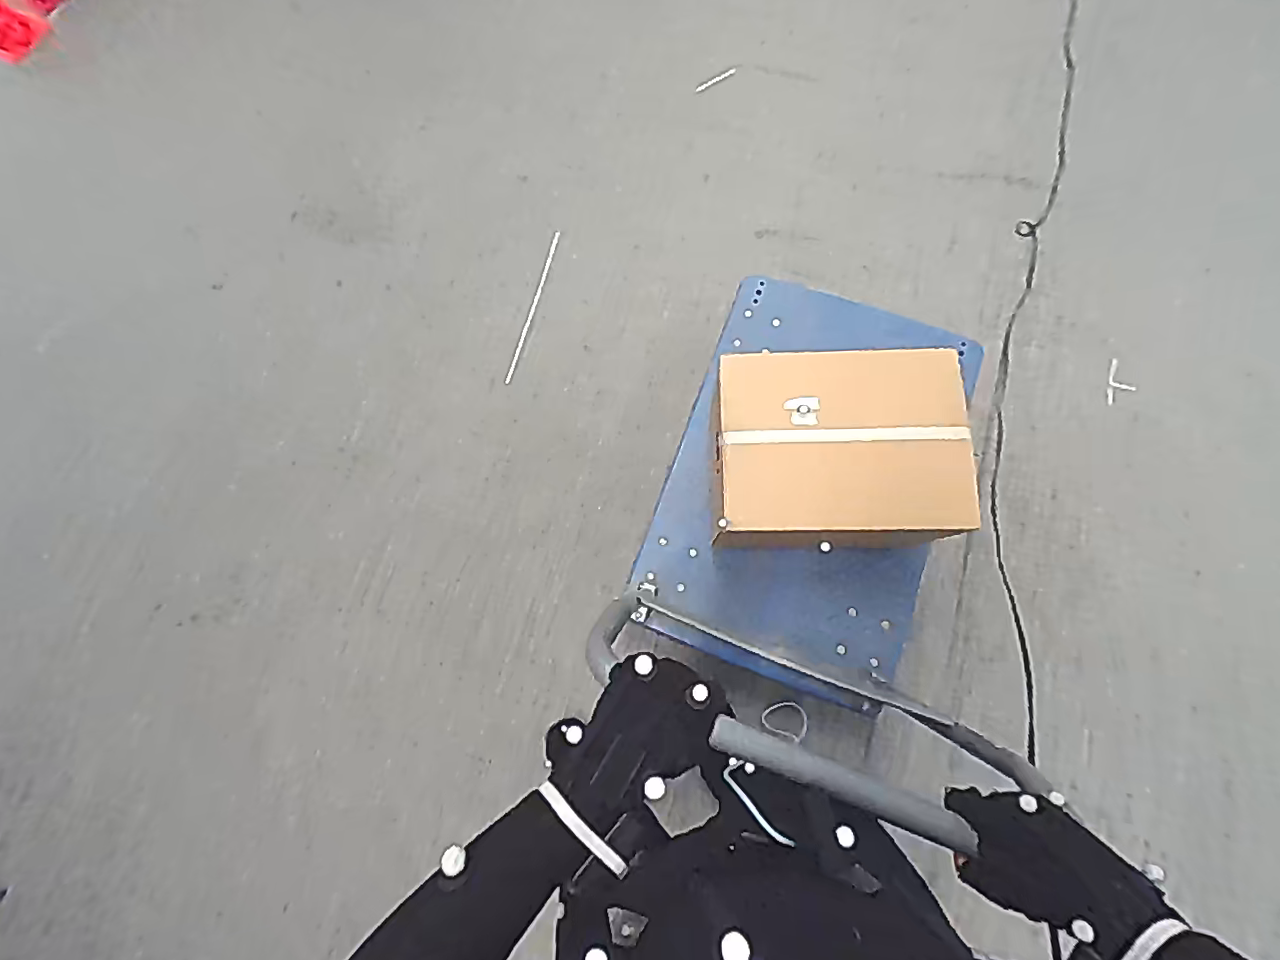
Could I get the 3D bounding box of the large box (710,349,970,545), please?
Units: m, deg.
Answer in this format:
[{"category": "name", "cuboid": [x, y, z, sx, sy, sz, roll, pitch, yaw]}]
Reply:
[{"category": "large box", "cuboid": [0.348, -0.040, 1.061, 0.408, 0.320, 0.320, -1, 77, 5]}]
